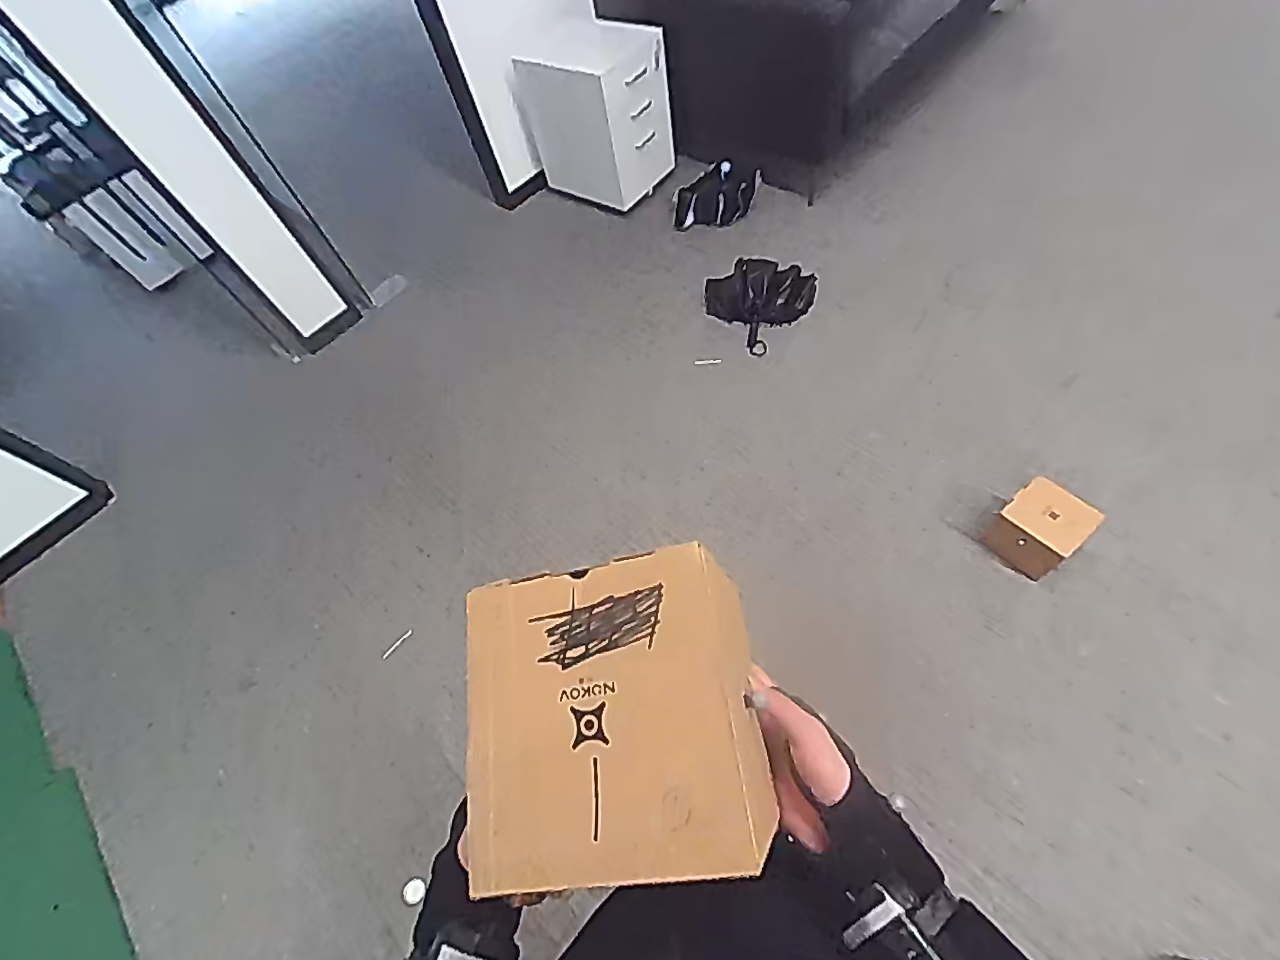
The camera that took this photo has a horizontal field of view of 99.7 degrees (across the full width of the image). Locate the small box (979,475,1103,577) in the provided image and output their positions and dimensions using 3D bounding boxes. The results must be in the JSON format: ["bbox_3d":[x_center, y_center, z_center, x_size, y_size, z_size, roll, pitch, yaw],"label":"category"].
[{"bbox_3d":[1.043,0.125,1.426,0.168,0.176,0.179,-39,61,-12],"label":"small box"}]

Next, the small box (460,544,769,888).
[{"bbox_3d":[-0.009,0.163,0.390,0.168,0.176,0.179,-13,66,13],"label":"small box"}]
